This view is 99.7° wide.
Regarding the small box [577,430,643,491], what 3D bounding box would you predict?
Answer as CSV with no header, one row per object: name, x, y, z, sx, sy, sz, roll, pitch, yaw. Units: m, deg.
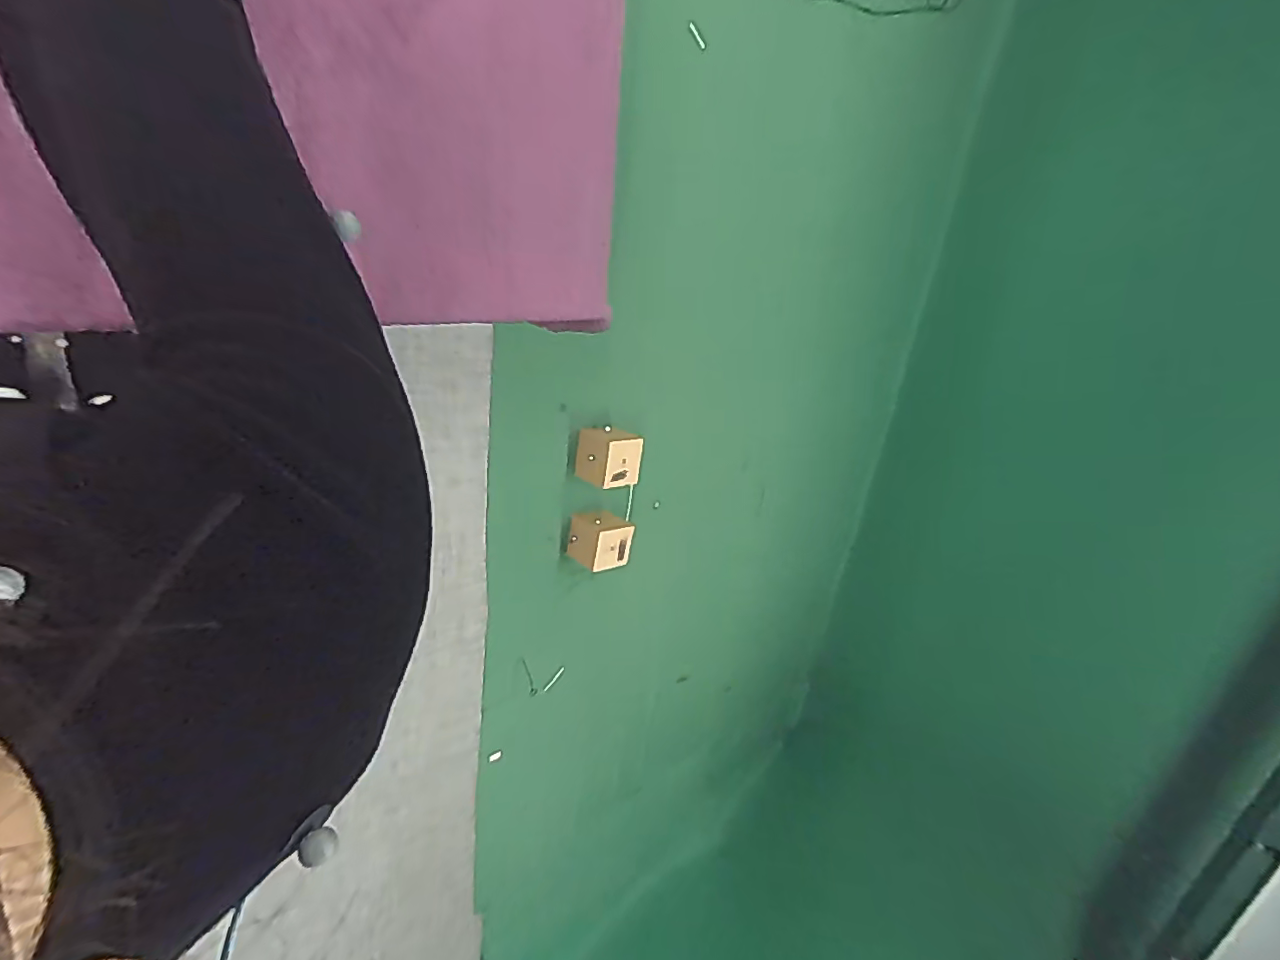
small box,-0.113,-0.074,1.957,0.168,0.176,0.179,-9,114,-44
